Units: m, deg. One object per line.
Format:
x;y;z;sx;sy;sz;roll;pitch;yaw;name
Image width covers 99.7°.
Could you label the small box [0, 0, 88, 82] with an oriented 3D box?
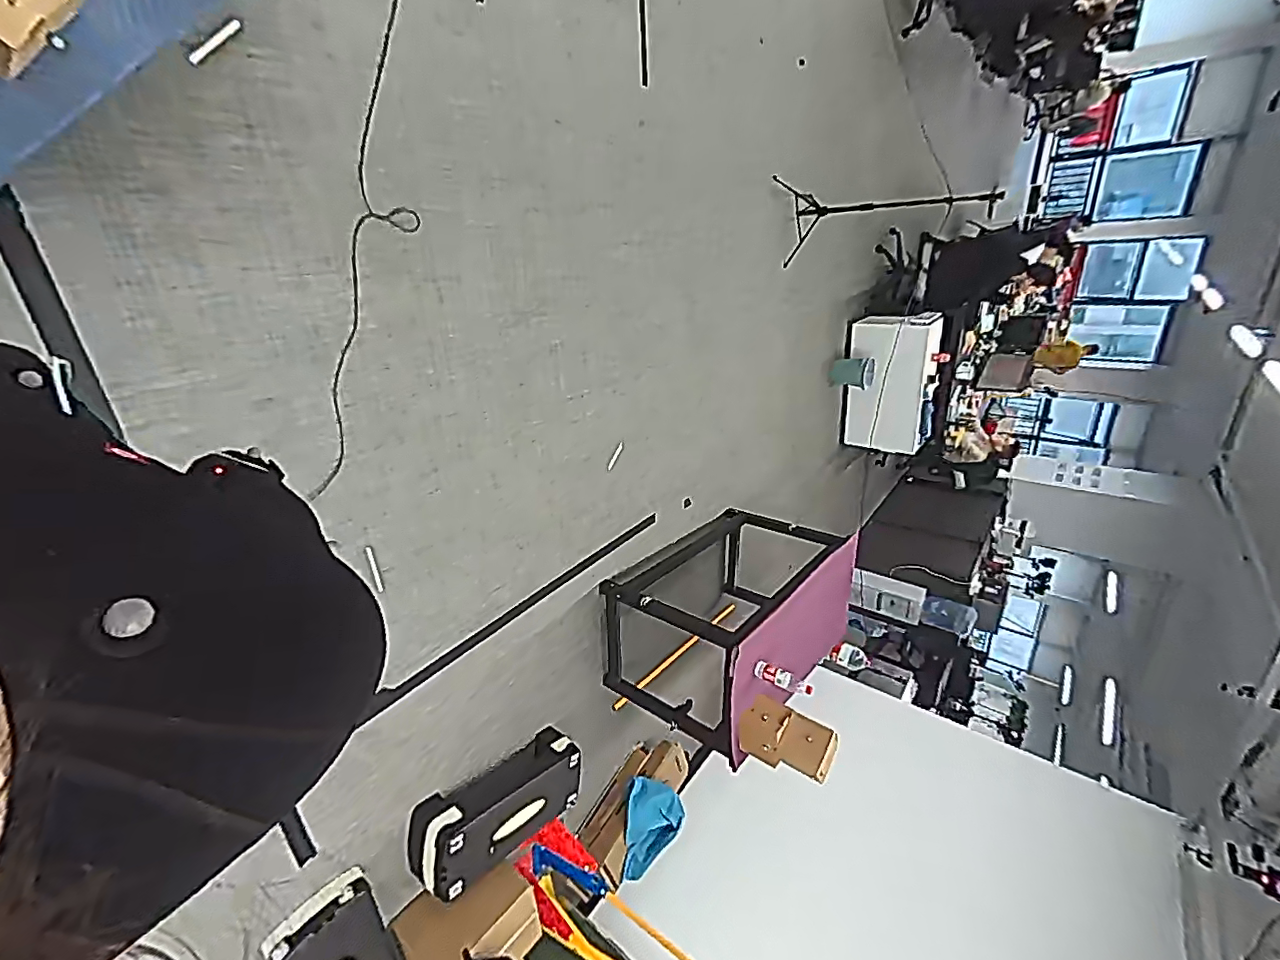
-0.884;-0.676;0.710;0.179;0.176;0.168;42;69;-49;small box
